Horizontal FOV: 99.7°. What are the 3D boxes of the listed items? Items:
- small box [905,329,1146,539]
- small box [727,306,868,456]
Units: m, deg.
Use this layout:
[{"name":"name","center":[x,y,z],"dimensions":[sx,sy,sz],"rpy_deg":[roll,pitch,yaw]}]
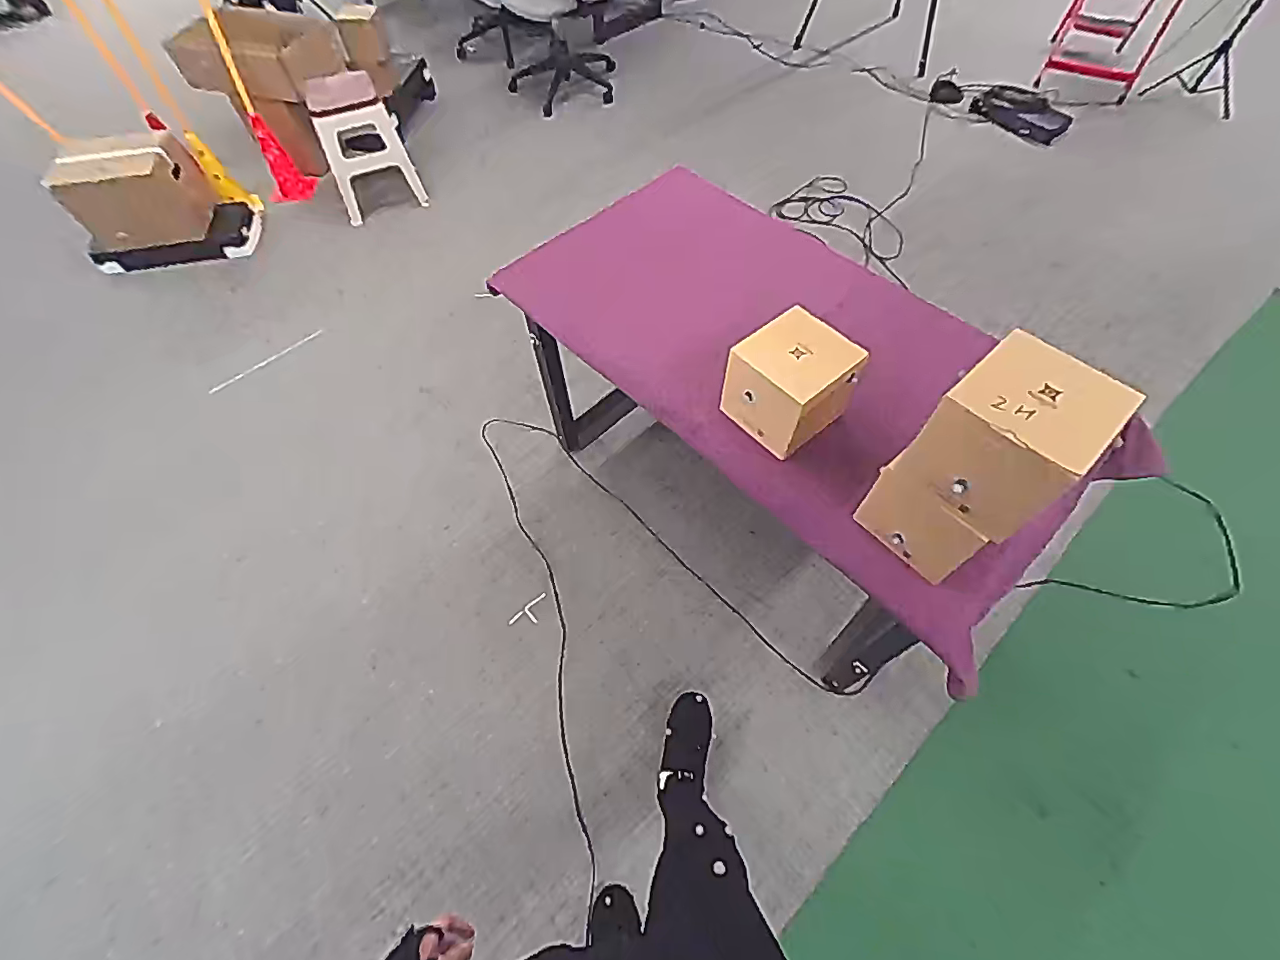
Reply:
[{"name":"small box","center":[0.488,-0.057,0.713],"dimensions":[0.179,0.176,0.168],"rpy_deg":[-38,64,-19]},{"name":"small box","center":[0.274,-0.176,0.986],"dimensions":[0.179,0.176,0.168],"rpy_deg":[-36,64,-20]}]
